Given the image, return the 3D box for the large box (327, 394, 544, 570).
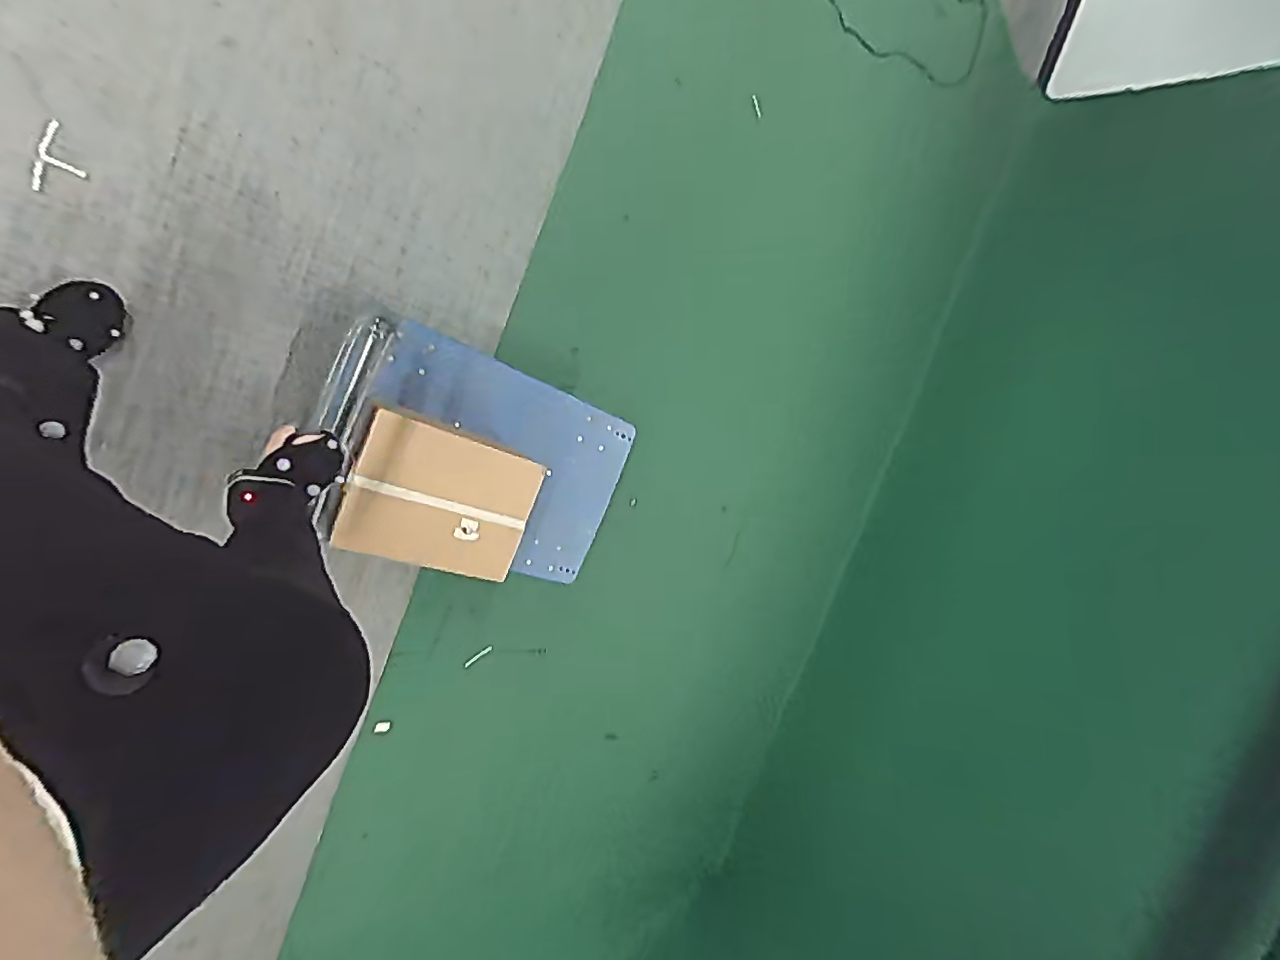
[{"bbox_3d":[-0.523,0.001,1.369,0.408,0.320,0.320,20,93,-34],"label":"large box"}]
